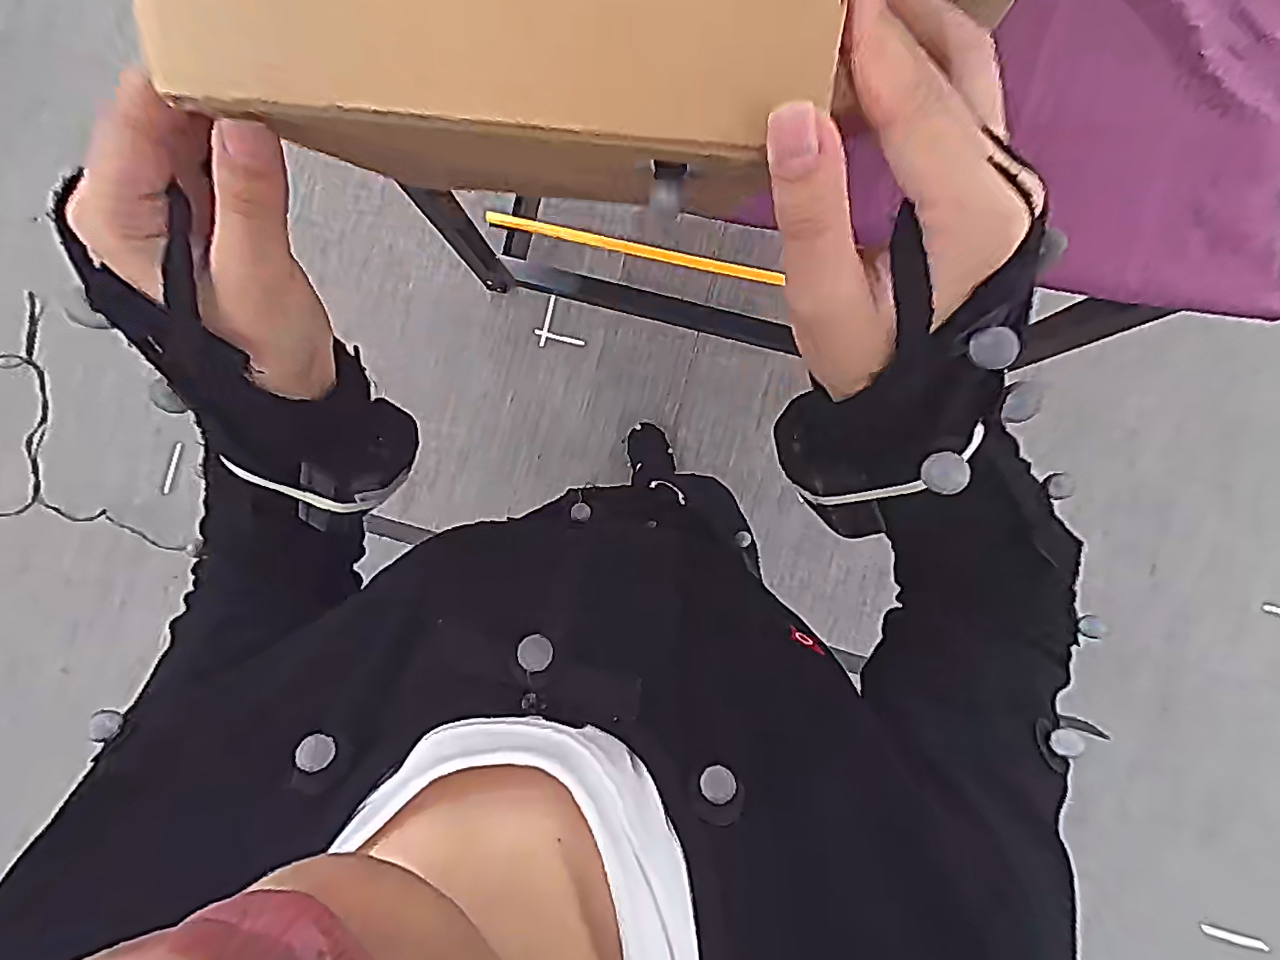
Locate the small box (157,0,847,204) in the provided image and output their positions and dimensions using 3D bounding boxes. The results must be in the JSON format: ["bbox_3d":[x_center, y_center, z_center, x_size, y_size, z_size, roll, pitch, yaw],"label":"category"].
[{"bbox_3d":[-0.030,-0.201,0.191,0.179,0.176,0.168,4,112,-2],"label":"small box"}]
